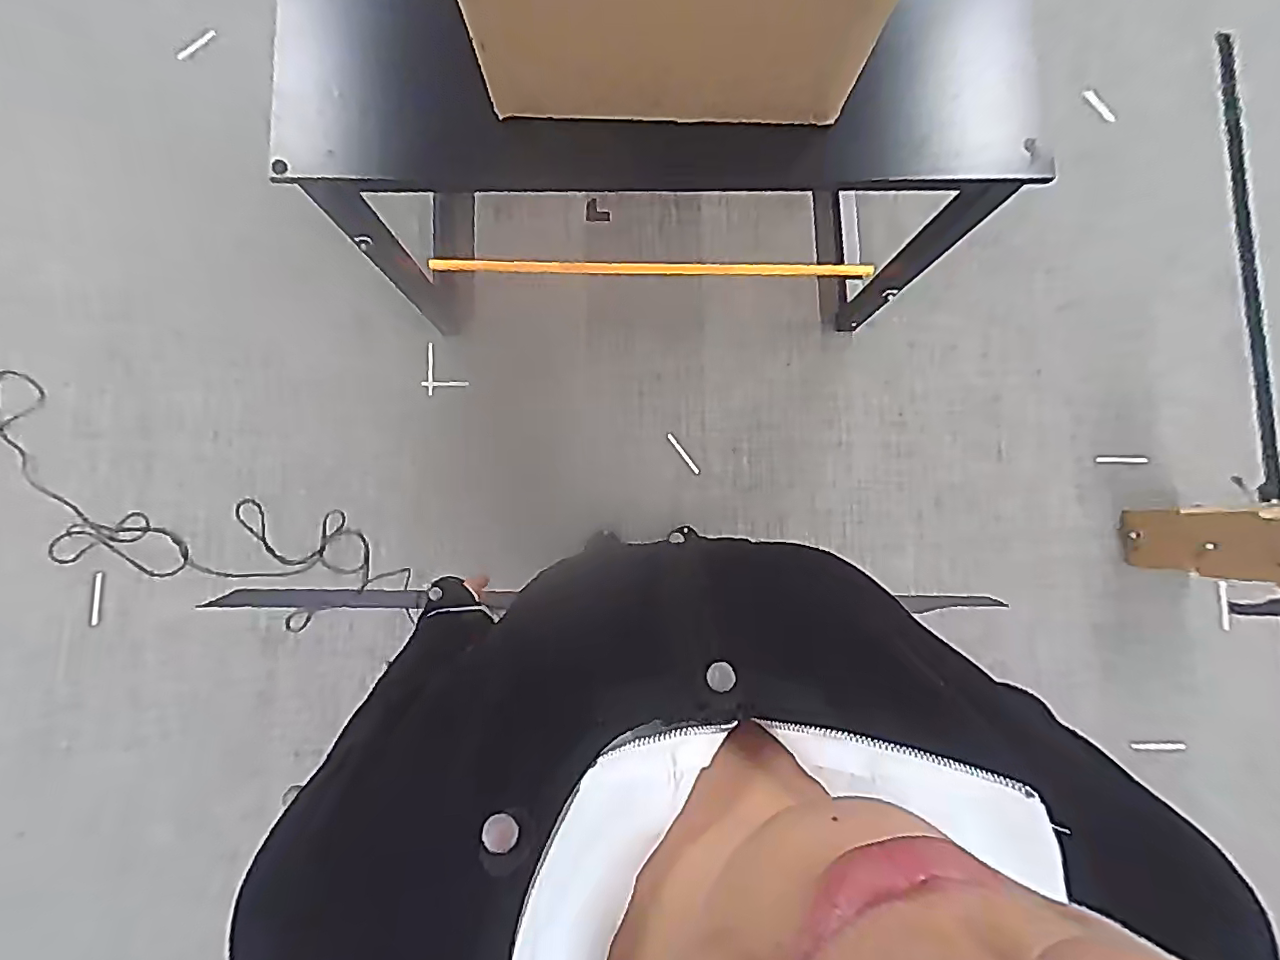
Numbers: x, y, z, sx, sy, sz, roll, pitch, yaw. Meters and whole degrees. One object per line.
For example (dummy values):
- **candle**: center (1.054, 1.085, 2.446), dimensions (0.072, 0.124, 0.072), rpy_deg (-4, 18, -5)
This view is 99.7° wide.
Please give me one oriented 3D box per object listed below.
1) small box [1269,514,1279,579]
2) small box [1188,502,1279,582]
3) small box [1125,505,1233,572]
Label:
- **small box**: center (1.493, 0.141, 1.131), dimensions (0.179, 0.176, 0.168), rpy_deg (-10, 85, -2)
- **small box**: center (1.492, 0.143, 1.295), dimensions (0.179, 0.176, 0.168), rpy_deg (-8, 84, -2)
- **small box**: center (1.475, 0.155, 1.459), dimensions (0.179, 0.176, 0.168), rpy_deg (-4, 84, 0)
